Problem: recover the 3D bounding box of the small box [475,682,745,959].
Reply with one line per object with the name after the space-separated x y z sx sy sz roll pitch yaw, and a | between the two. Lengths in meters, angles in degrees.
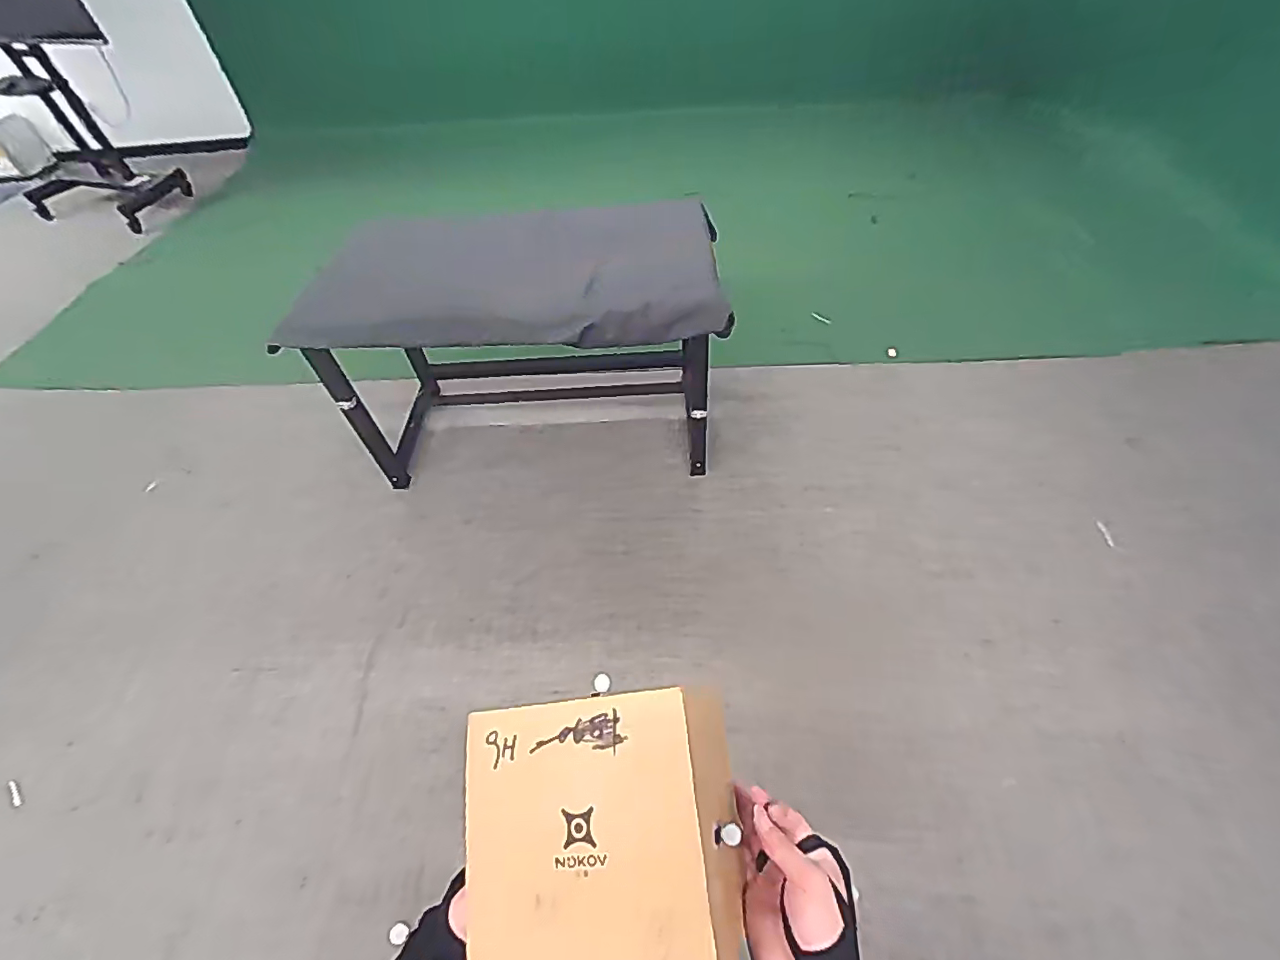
-0.015 0.267 0.435 0.168 0.176 0.179 -11 70 12 | small box
